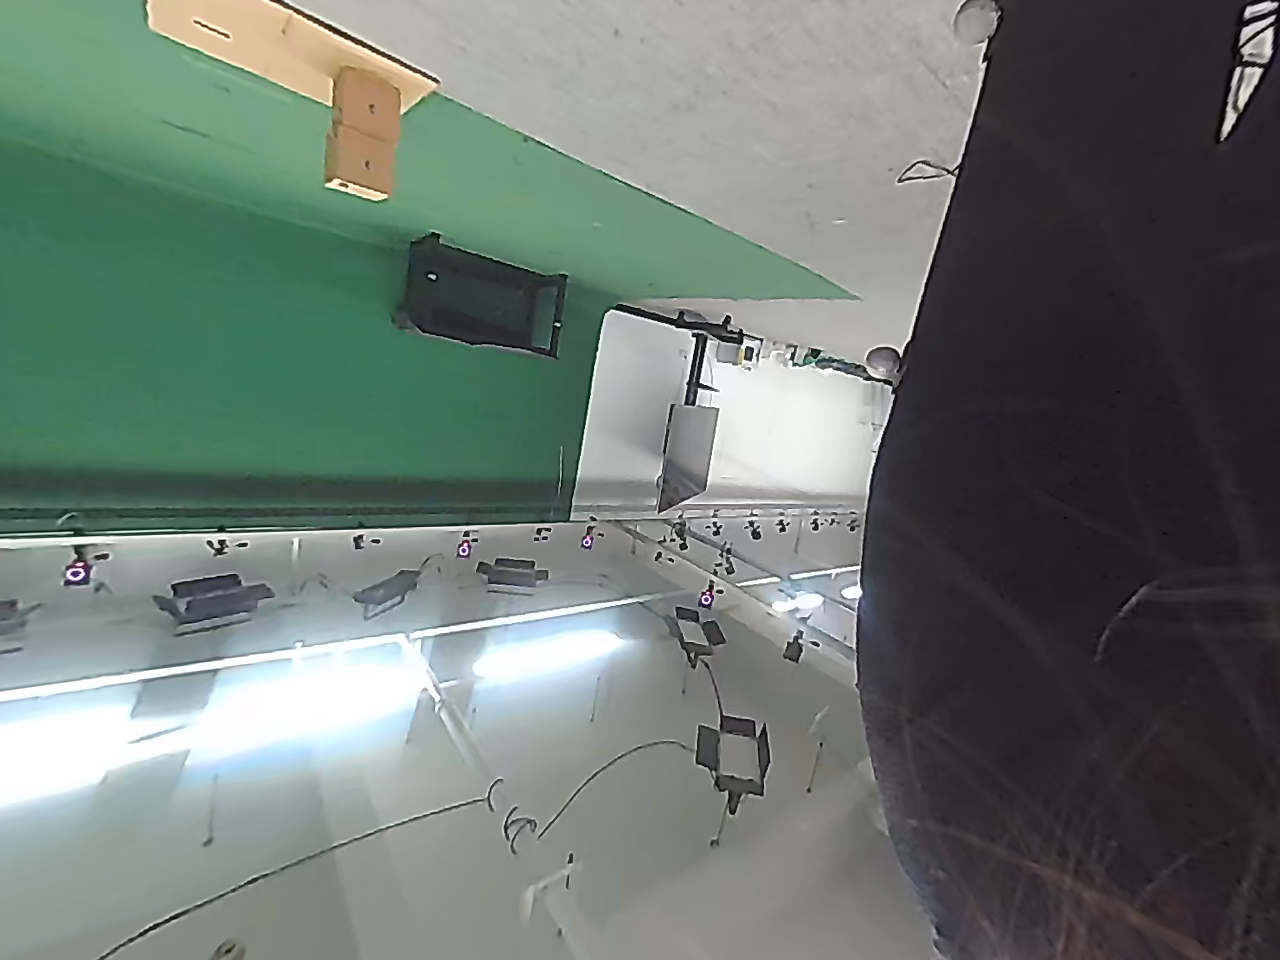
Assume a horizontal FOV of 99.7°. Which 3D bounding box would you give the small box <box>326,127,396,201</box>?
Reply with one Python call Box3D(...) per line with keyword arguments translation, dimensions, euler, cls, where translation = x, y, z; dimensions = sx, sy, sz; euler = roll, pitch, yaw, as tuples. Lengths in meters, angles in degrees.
Box3D(translation=(-0.956, -1.084, 1.855), dimensions=(0.179, 0.176, 0.168), euler=(-3, -164, -43), cls="small box")
